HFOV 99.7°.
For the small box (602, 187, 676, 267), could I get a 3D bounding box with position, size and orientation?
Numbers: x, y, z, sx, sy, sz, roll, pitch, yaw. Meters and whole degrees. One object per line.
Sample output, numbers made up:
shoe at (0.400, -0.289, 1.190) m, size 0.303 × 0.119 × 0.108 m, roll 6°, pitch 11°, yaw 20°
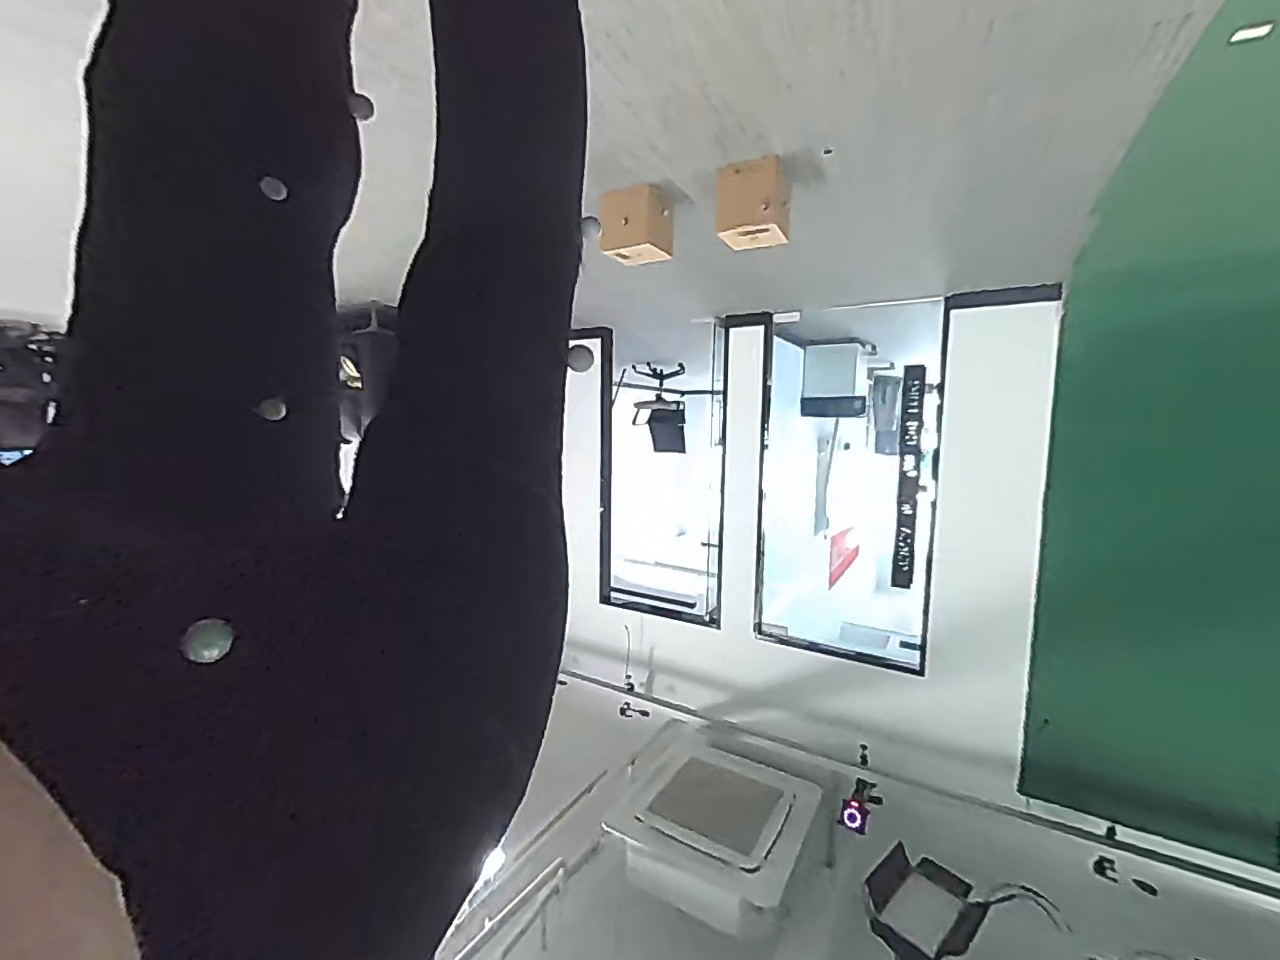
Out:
small box at (0.001, -0.772, 1.659) m, size 0.179 × 0.176 × 0.168 m, roll 4°, pitch -173°, yaw 31°
